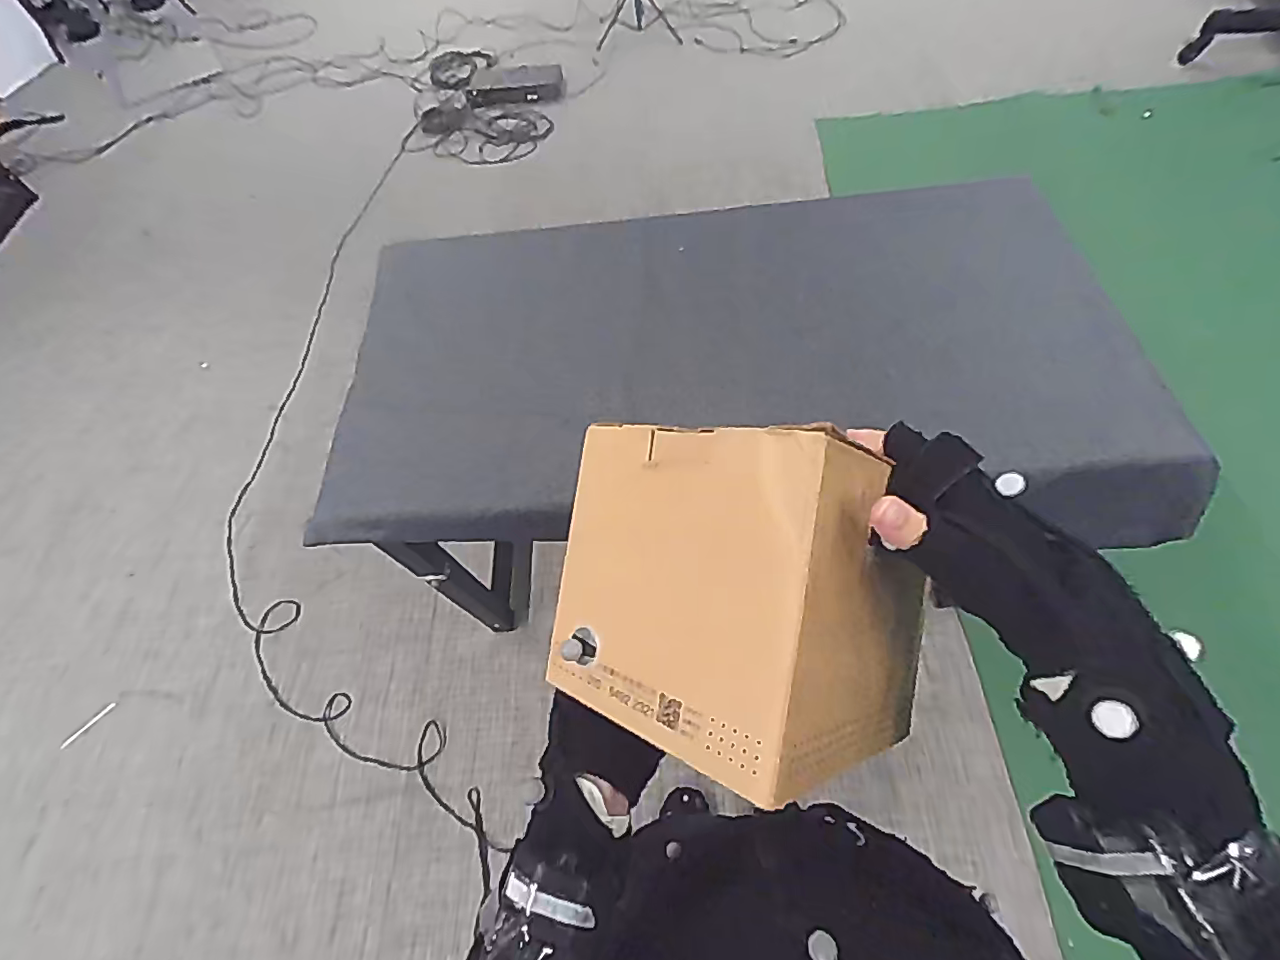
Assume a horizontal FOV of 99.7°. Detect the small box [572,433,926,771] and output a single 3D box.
[{"bbox_3d":[0.070,0.068,0.366,0.168,0.179,0.176,8,86,45],"label":"small box"}]
